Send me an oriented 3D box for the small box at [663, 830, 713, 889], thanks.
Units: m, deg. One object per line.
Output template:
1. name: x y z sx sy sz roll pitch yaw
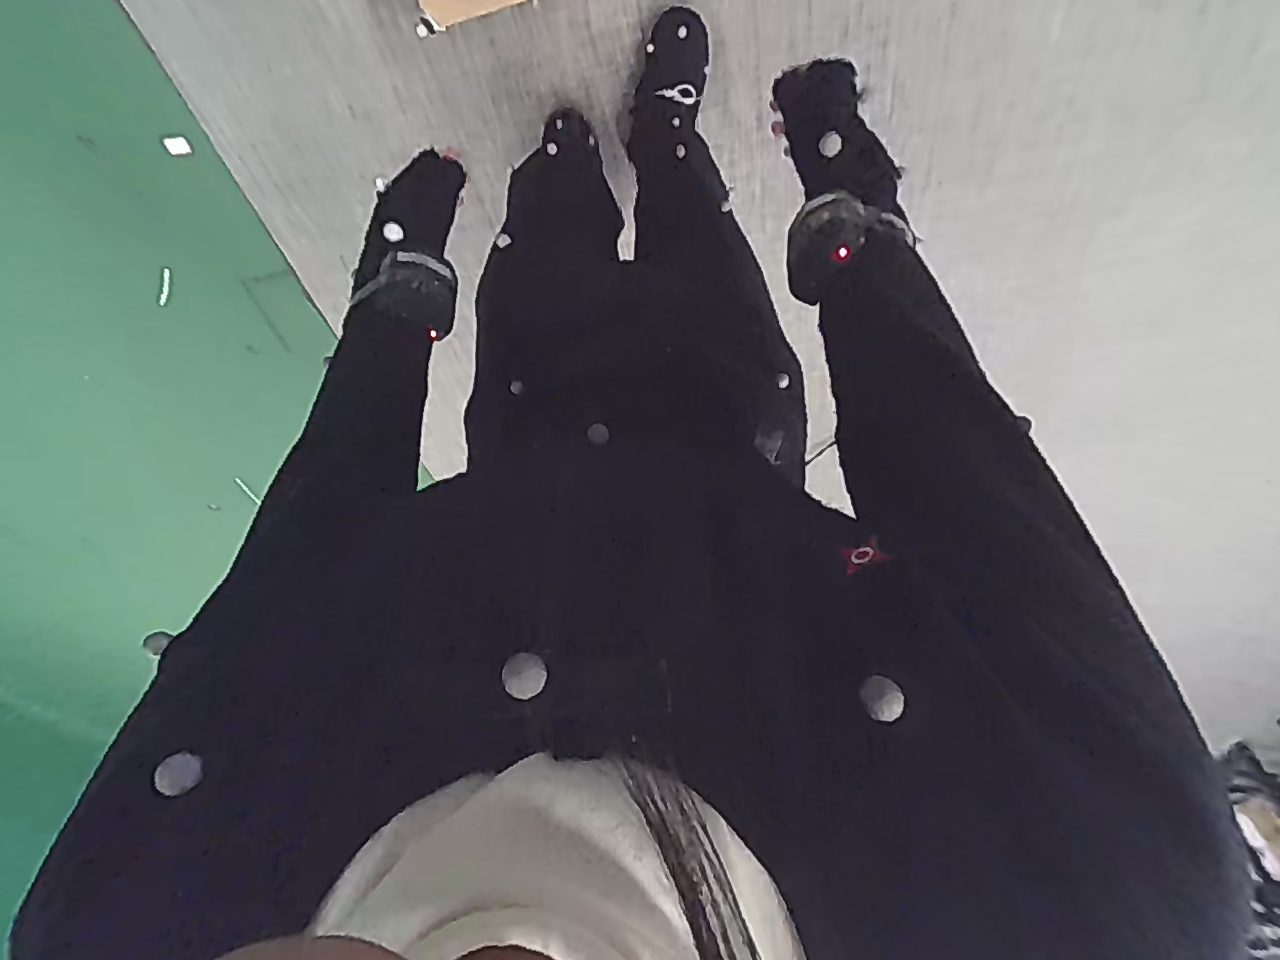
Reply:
1. small box: 0.188 1.491 2.124 0.179 0.176 0.168 -7 134 12

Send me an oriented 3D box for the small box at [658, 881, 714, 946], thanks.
1. small box: 0.172 1.606 2.007 0.179 0.176 0.168 -10 133 14
